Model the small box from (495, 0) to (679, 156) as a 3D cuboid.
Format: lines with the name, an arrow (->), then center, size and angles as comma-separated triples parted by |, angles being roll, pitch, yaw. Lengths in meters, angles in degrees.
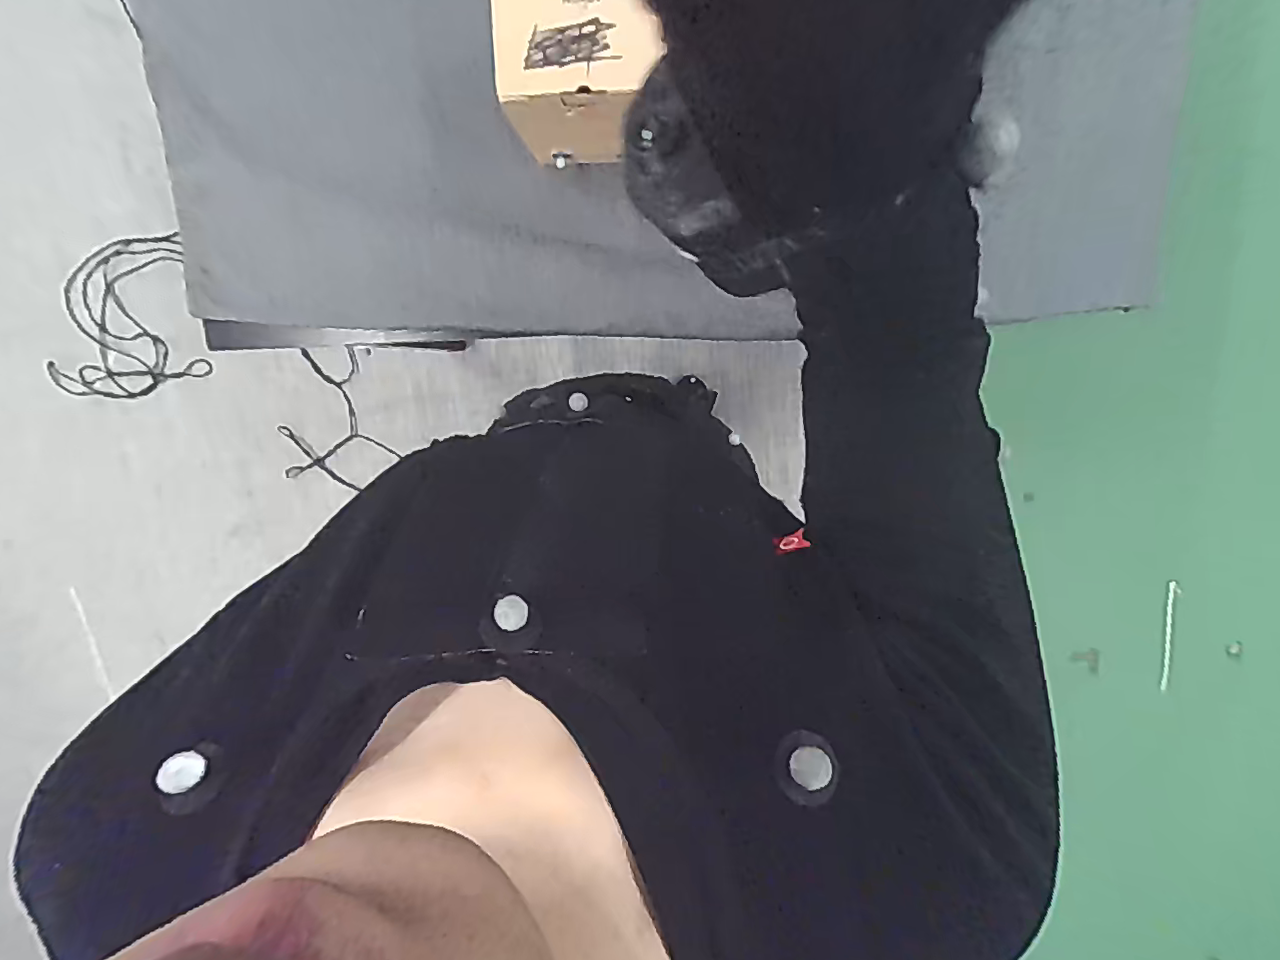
small box -> -0.044, -0.457, 0.561 | 0.168, 0.176, 0.179 | 1, 101, 4
